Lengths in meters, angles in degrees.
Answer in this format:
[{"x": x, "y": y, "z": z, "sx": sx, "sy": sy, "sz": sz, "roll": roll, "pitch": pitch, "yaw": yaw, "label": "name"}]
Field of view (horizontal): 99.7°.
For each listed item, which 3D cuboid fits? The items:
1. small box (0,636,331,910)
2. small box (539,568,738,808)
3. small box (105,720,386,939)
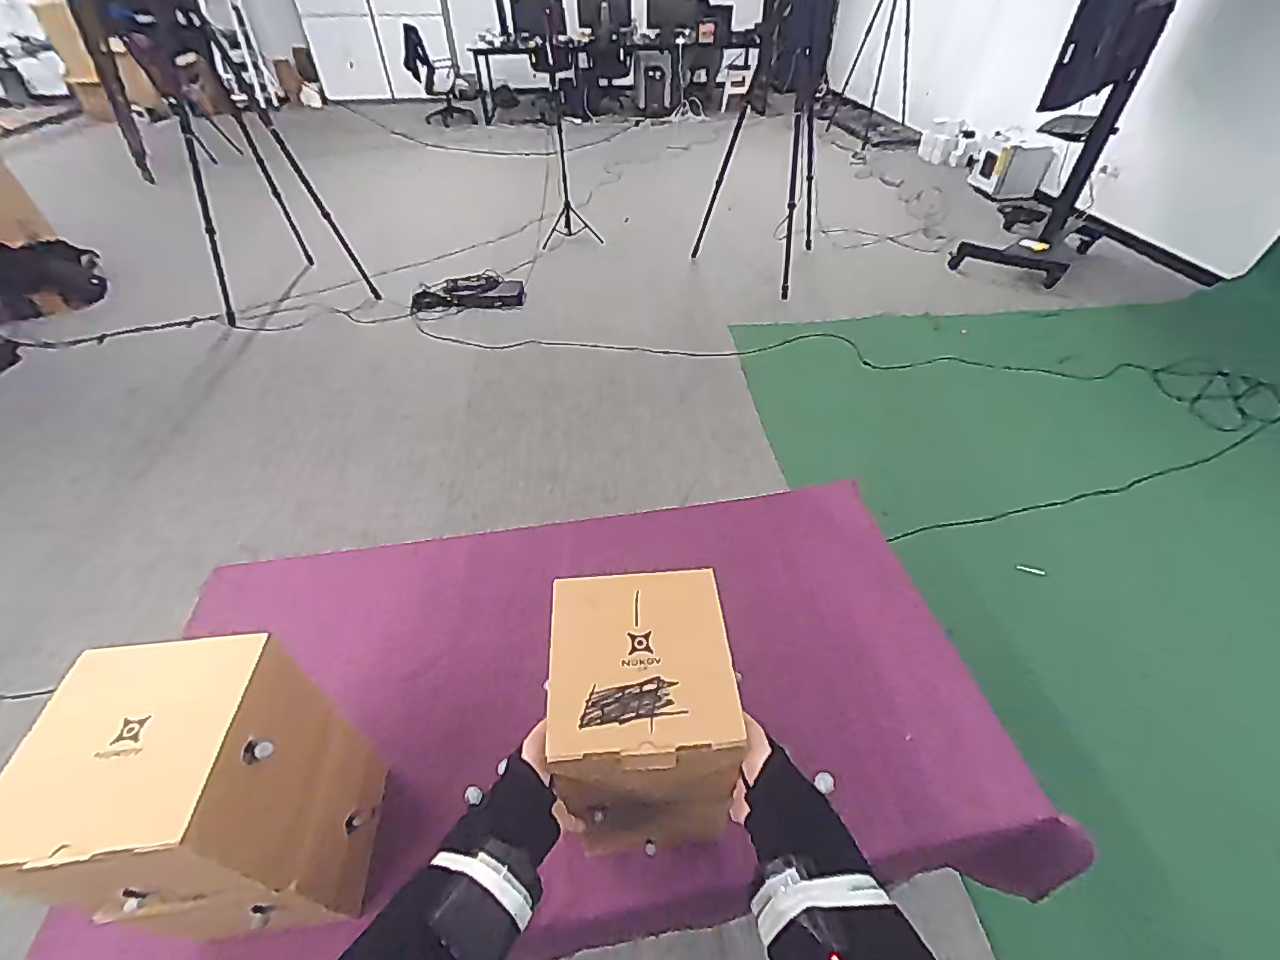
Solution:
[{"x": -0.421, "y": 0.272, "z": 0.507, "sx": 0.168, "sy": 0.176, "sz": 0.179, "roll": -5, "pitch": 45, "yaw": -4, "label": "small box"}, {"x": -0.002, "y": 0.214, "z": 0.549, "sx": 0.168, "sy": 0.176, "sz": 0.179, "roll": -4, "pitch": 43, "yaw": -2, "label": "small box"}, {"x": -0.414, "y": 0.396, "z": 0.613, "sx": 0.179, "sy": 0.176, "sz": 0.168, "roll": -6, "pitch": 44, "yaw": -4, "label": "small box"}]
